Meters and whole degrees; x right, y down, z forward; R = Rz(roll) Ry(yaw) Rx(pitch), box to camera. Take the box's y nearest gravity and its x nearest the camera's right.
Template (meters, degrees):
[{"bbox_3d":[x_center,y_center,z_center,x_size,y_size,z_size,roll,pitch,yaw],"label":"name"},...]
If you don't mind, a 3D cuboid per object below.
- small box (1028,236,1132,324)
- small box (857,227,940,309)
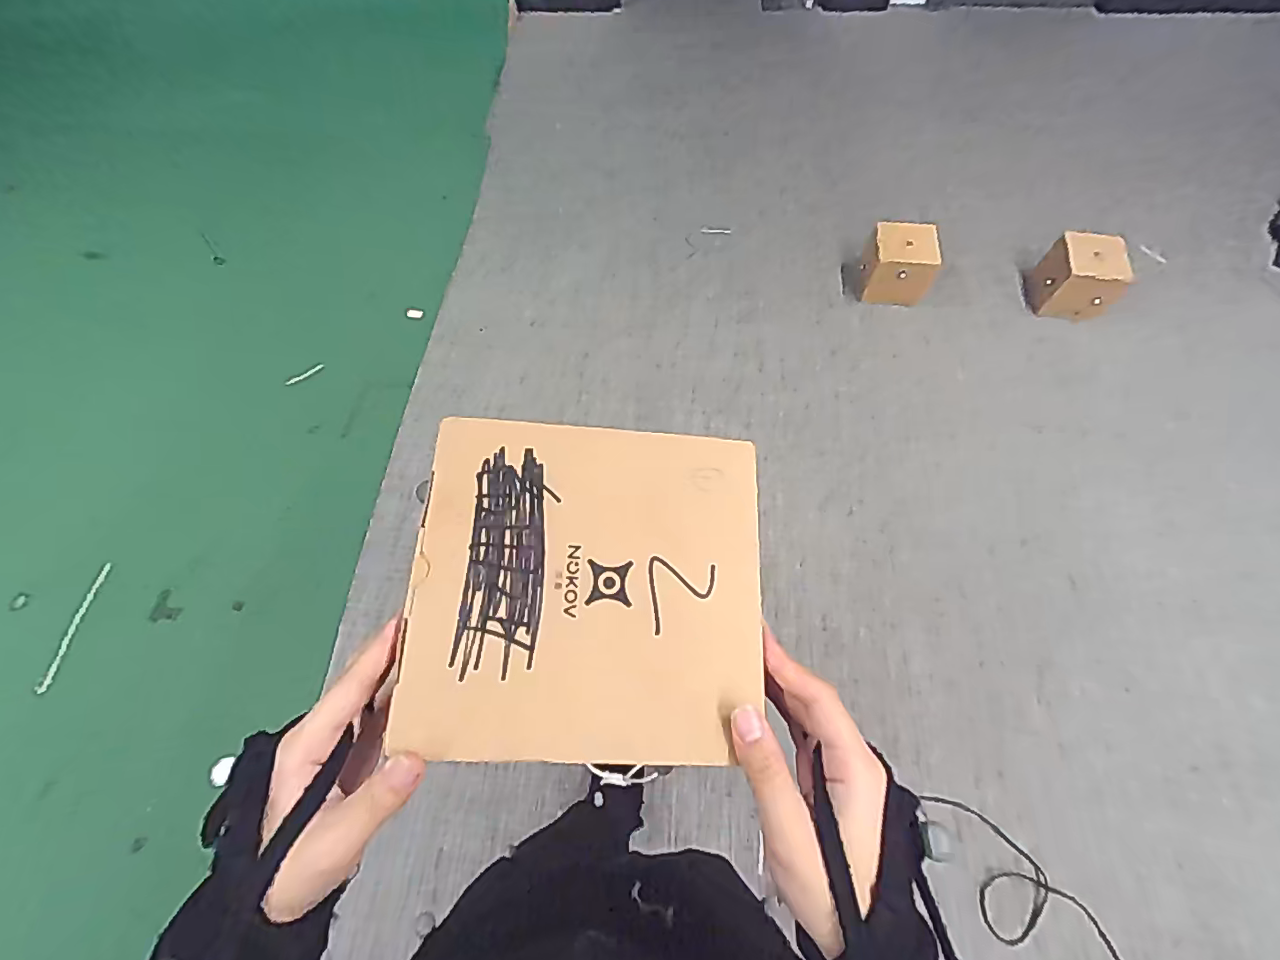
[{"bbox_3d":[1.302,-0.593,1.614,0.168,0.176,0.179,9,64,5],"label":"small box"},{"bbox_3d":[0.783,-0.644,1.655,0.179,0.176,0.168,5,64,5],"label":"small box"}]
